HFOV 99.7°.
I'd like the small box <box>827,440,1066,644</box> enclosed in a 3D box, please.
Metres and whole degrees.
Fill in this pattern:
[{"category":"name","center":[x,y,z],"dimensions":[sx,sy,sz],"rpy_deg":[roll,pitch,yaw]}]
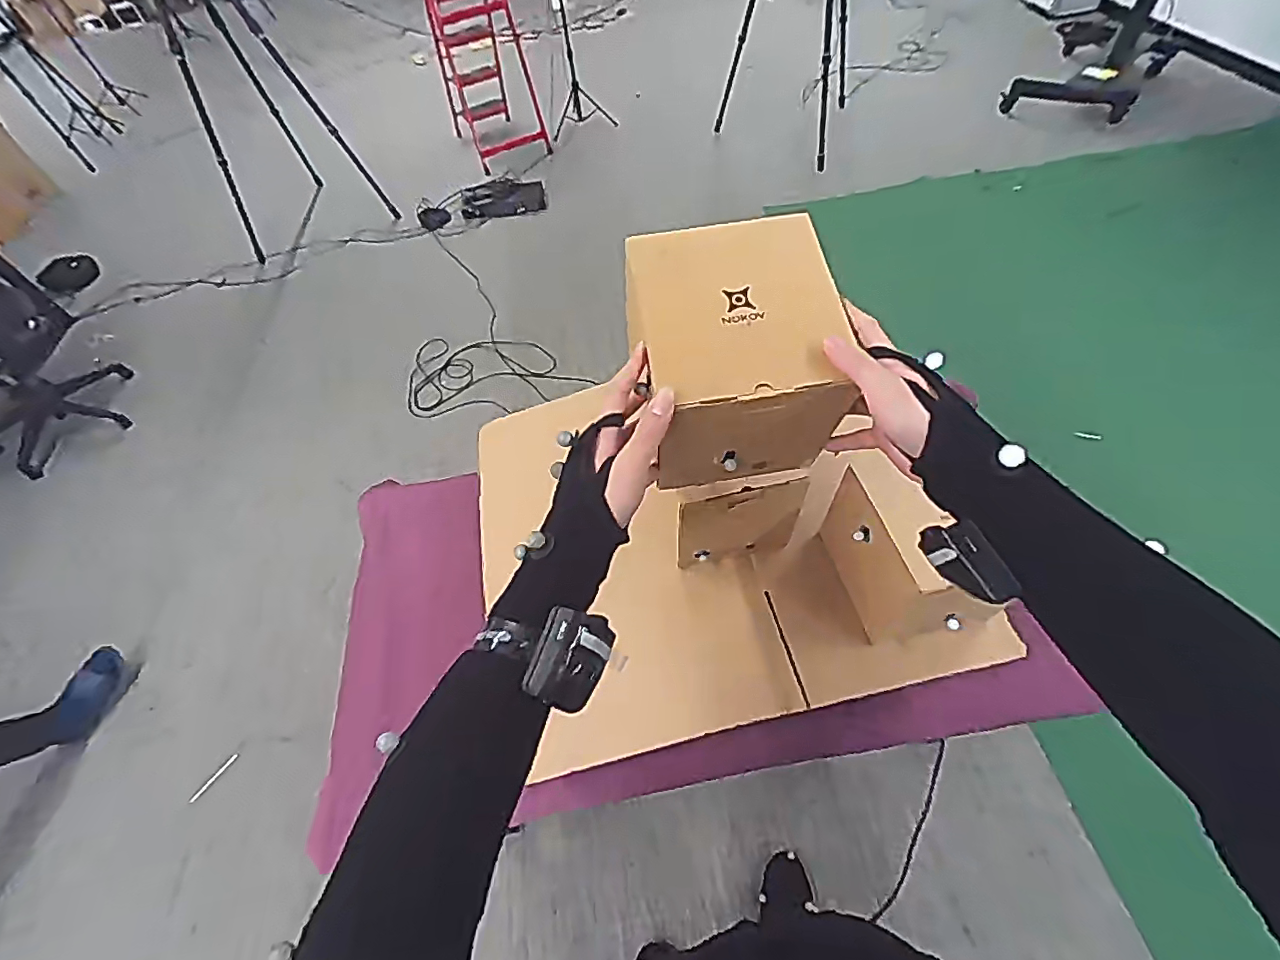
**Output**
[{"category":"small box","center":[0.353,0.079,0.669],"dimensions":[0.168,0.176,0.179],"rpy_deg":[-11,55,-3]}]

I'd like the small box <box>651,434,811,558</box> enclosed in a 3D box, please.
[{"category":"small box","center":[0.113,-0.008,0.744],"dimensions":[0.168,0.176,0.179],"rpy_deg":[-11,54,-5]}]

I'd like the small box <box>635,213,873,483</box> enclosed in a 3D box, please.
[{"category":"small box","center":[0.087,-0.115,0.516],"dimensions":[0.168,0.176,0.179],"rpy_deg":[-9,69,-3]}]
